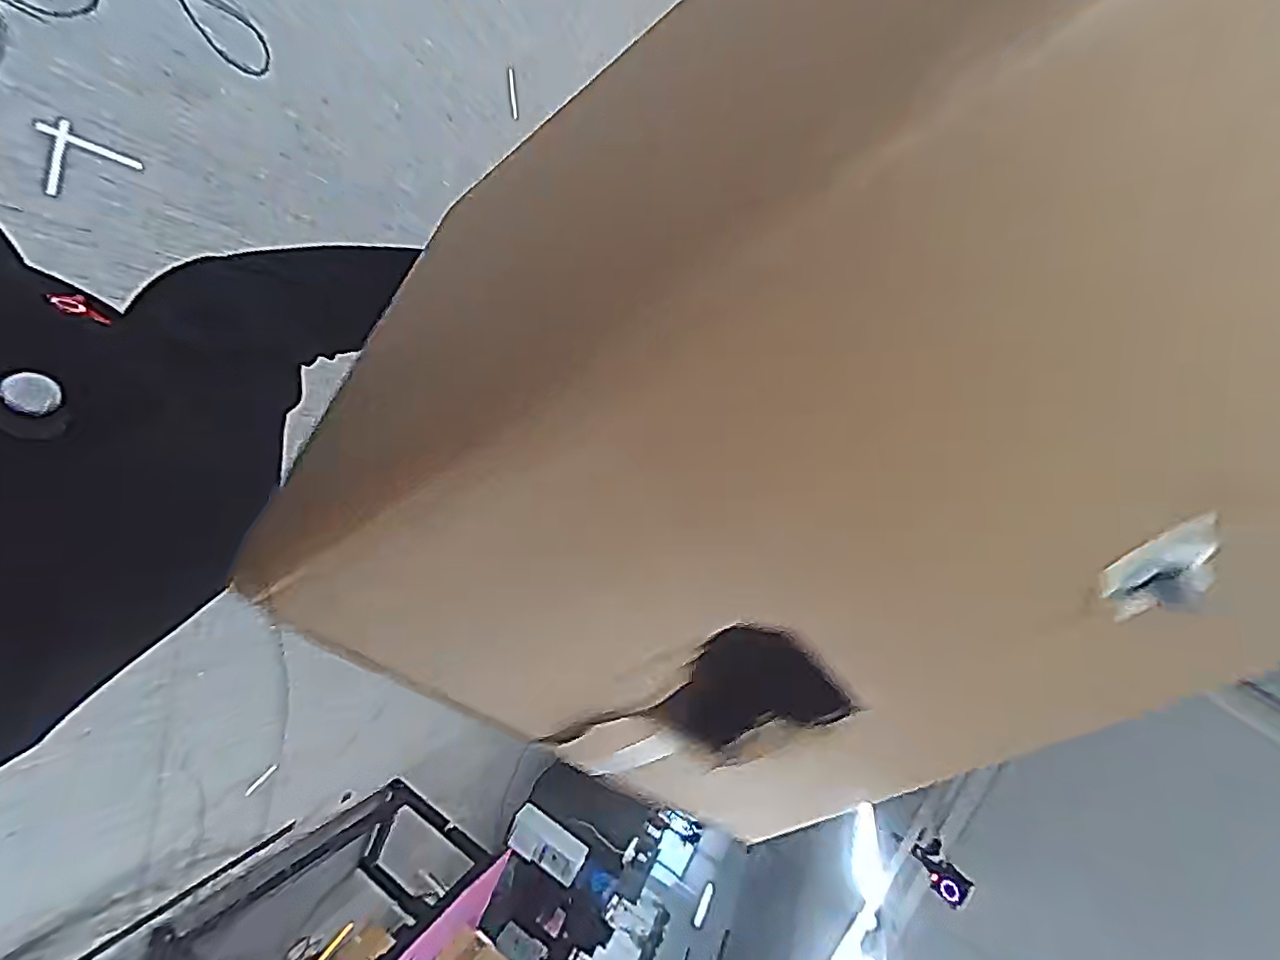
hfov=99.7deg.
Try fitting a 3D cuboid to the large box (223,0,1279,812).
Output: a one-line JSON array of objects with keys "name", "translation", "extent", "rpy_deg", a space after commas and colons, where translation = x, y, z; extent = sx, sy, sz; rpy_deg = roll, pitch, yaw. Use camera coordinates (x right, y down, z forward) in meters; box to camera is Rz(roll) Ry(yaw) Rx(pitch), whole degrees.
[{"name": "large box", "translation": [0.074, -0.088, 0.339], "extent": [0.320, 0.320, 0.408], "rpy_deg": [48, 21, -35]}]
